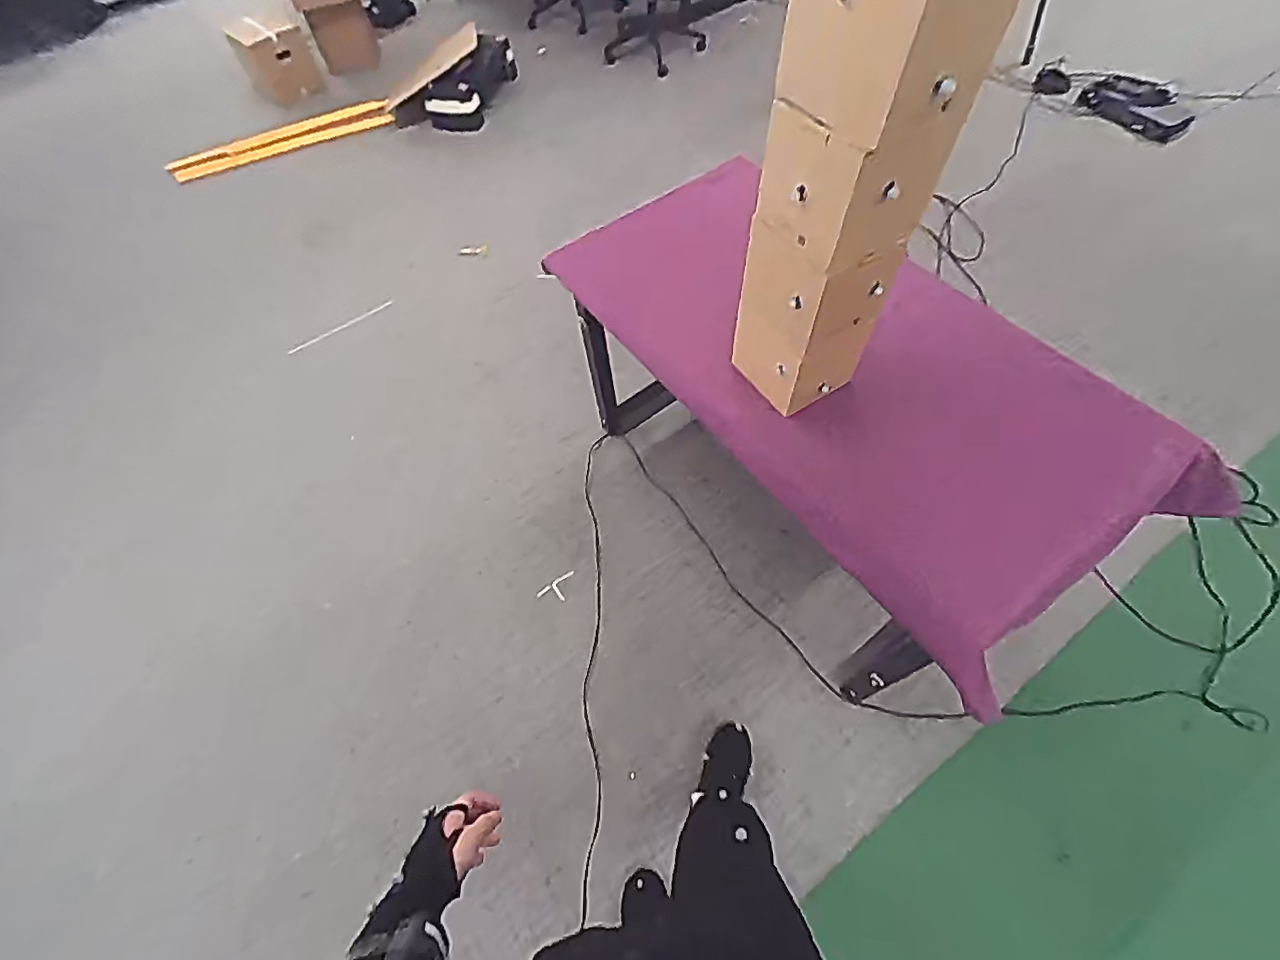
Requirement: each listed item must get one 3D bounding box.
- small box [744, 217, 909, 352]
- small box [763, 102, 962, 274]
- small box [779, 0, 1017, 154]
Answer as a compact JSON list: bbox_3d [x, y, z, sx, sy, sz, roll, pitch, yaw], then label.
[{"bbox_3d":[0.290,-0.334,0.885,0.168,0.176,0.179,-29,62,-13],"label":"small box"},{"bbox_3d":[0.287,-0.420,0.746,0.179,0.176,0.168,-29,63,-13],"label":"small box"},{"bbox_3d":[0.280,-0.505,0.605,0.168,0.176,0.179,-31,63,-14],"label":"small box"}]
